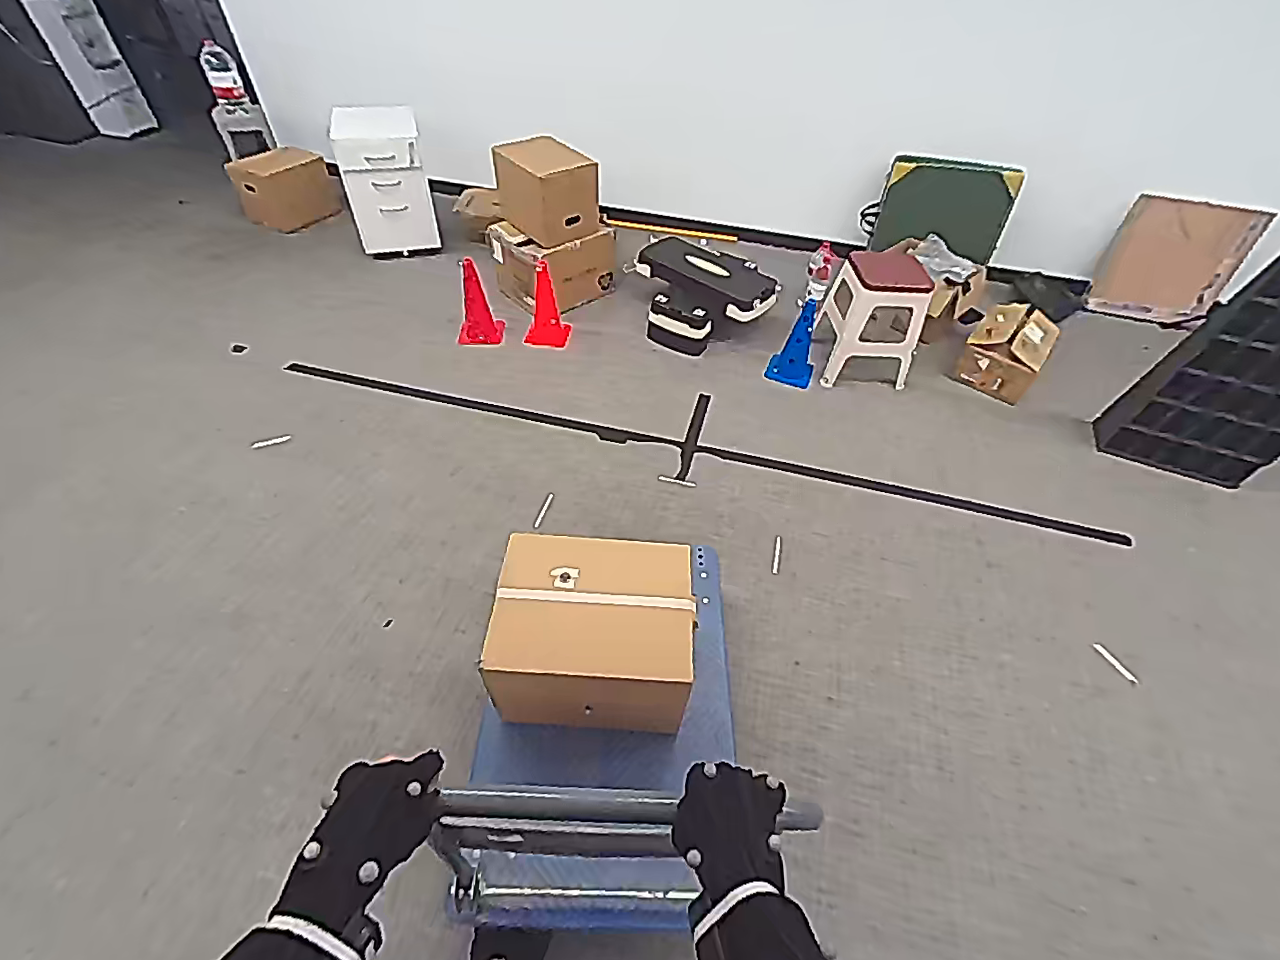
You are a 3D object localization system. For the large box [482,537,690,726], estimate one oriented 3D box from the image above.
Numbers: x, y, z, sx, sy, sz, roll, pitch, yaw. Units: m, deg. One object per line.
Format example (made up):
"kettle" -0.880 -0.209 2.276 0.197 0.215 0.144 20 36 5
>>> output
"large box" -0.100 0.351 1.233 0.408 0.320 0.320 4 49 1
